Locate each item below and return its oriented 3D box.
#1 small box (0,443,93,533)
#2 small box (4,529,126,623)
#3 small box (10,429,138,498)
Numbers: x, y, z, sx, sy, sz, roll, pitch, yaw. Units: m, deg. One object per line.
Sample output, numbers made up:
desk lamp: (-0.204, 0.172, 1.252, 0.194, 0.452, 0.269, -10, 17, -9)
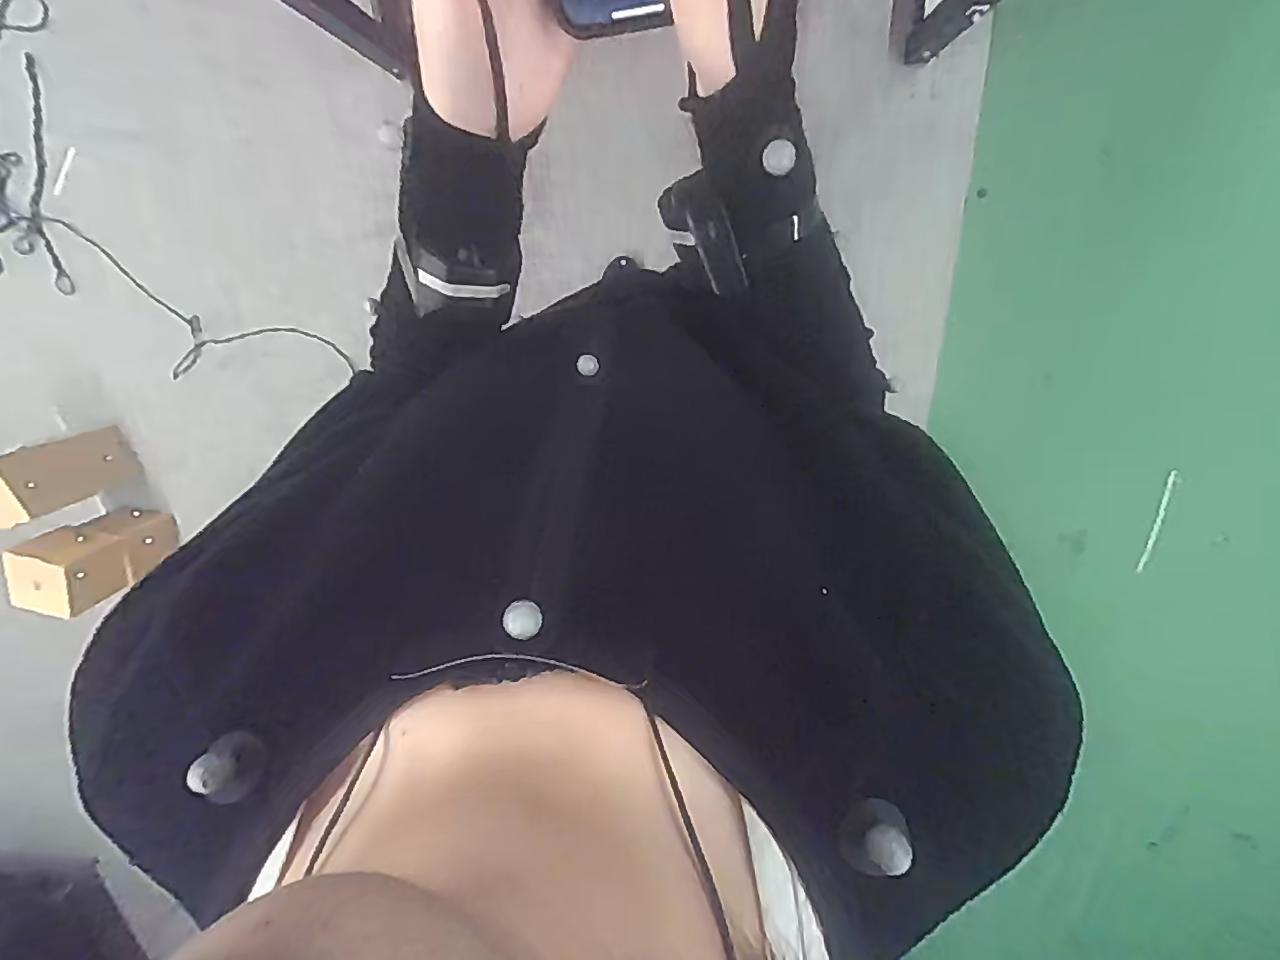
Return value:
small box: (-1.621, 0.022, 1.420, 0.168, 0.176, 0.179, -12, 110, 8)
small box: (-1.596, 0.265, 1.514, 0.168, 0.176, 0.179, 15, 110, -1)
small box: (-1.623, -0.042, 1.570, 0.179, 0.176, 0.168, -7, 110, 7)
